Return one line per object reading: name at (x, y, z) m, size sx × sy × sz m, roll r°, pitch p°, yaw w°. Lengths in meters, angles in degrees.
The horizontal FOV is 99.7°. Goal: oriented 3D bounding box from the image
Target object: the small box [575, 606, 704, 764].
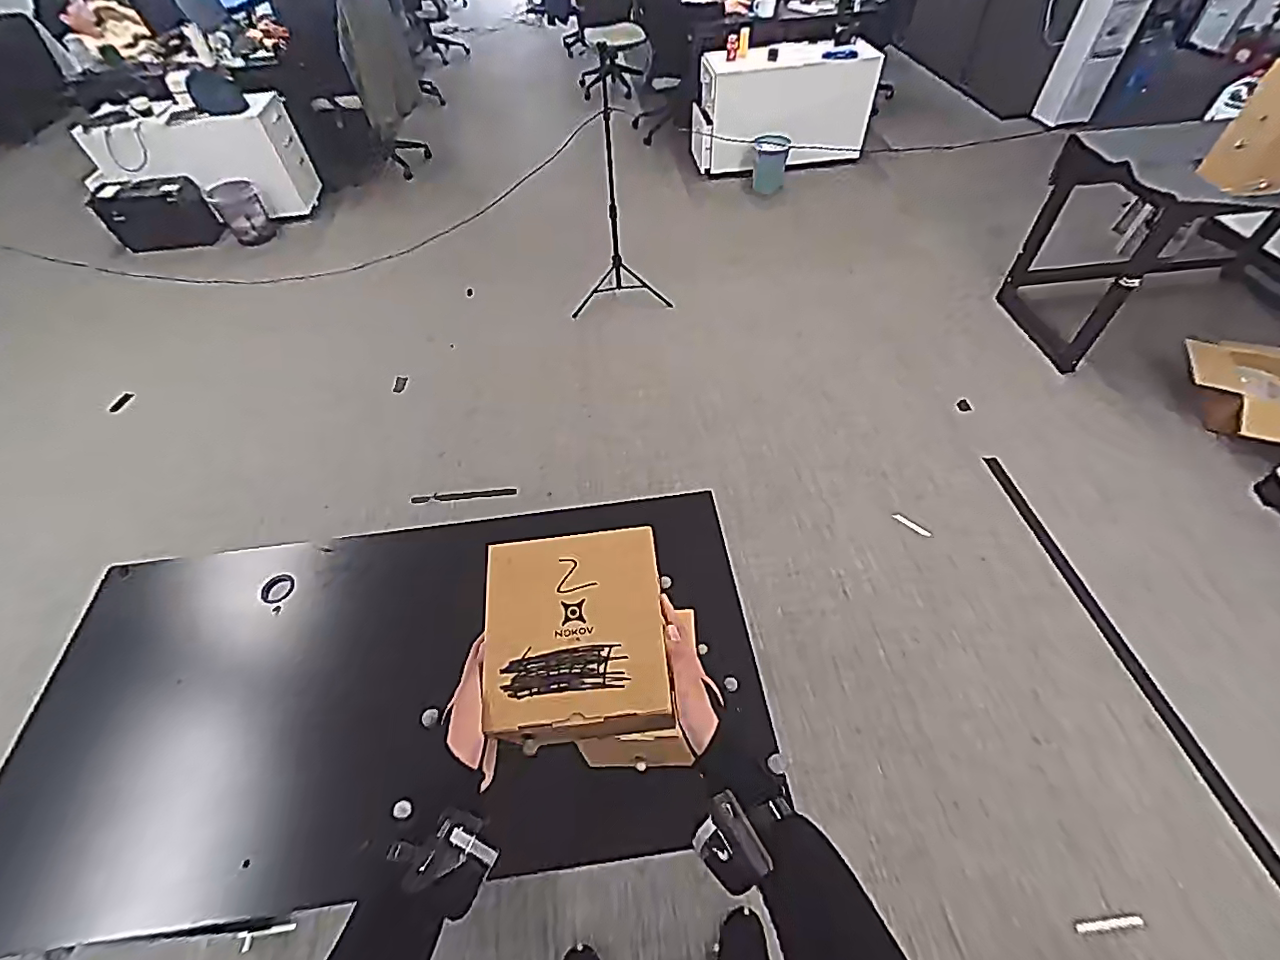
small box at (0.004, 0.301, 0.792) m, size 0.168 × 0.176 × 0.179 m, roll -2°, pitch 52°, yaw 3°
